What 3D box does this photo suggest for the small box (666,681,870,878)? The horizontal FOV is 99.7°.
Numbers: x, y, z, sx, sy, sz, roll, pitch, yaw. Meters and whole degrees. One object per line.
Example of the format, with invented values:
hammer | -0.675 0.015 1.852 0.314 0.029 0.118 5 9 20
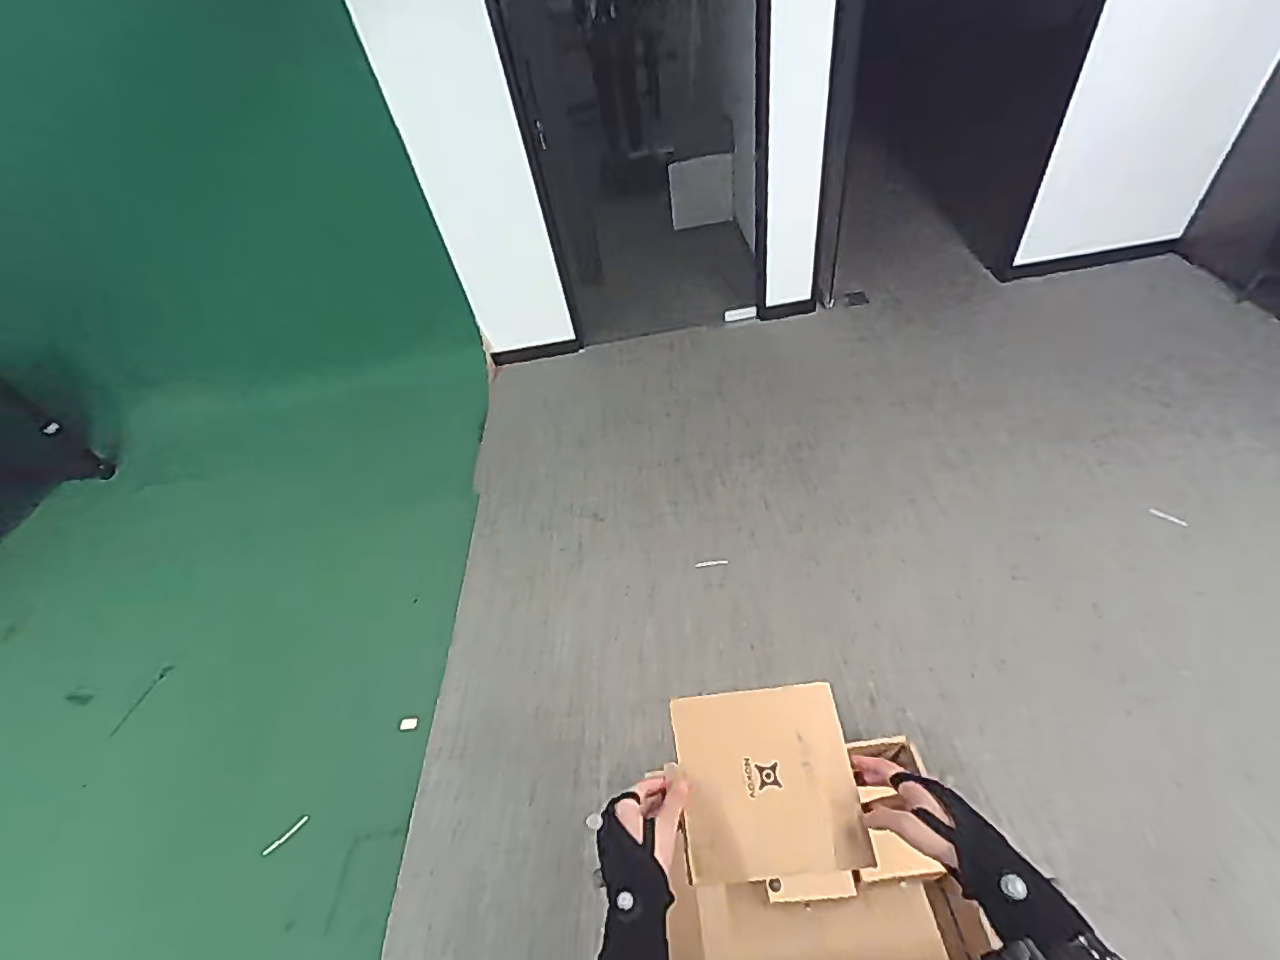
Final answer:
small box | 0.128 0.333 0.606 0.179 0.176 0.168 -6 60 1
